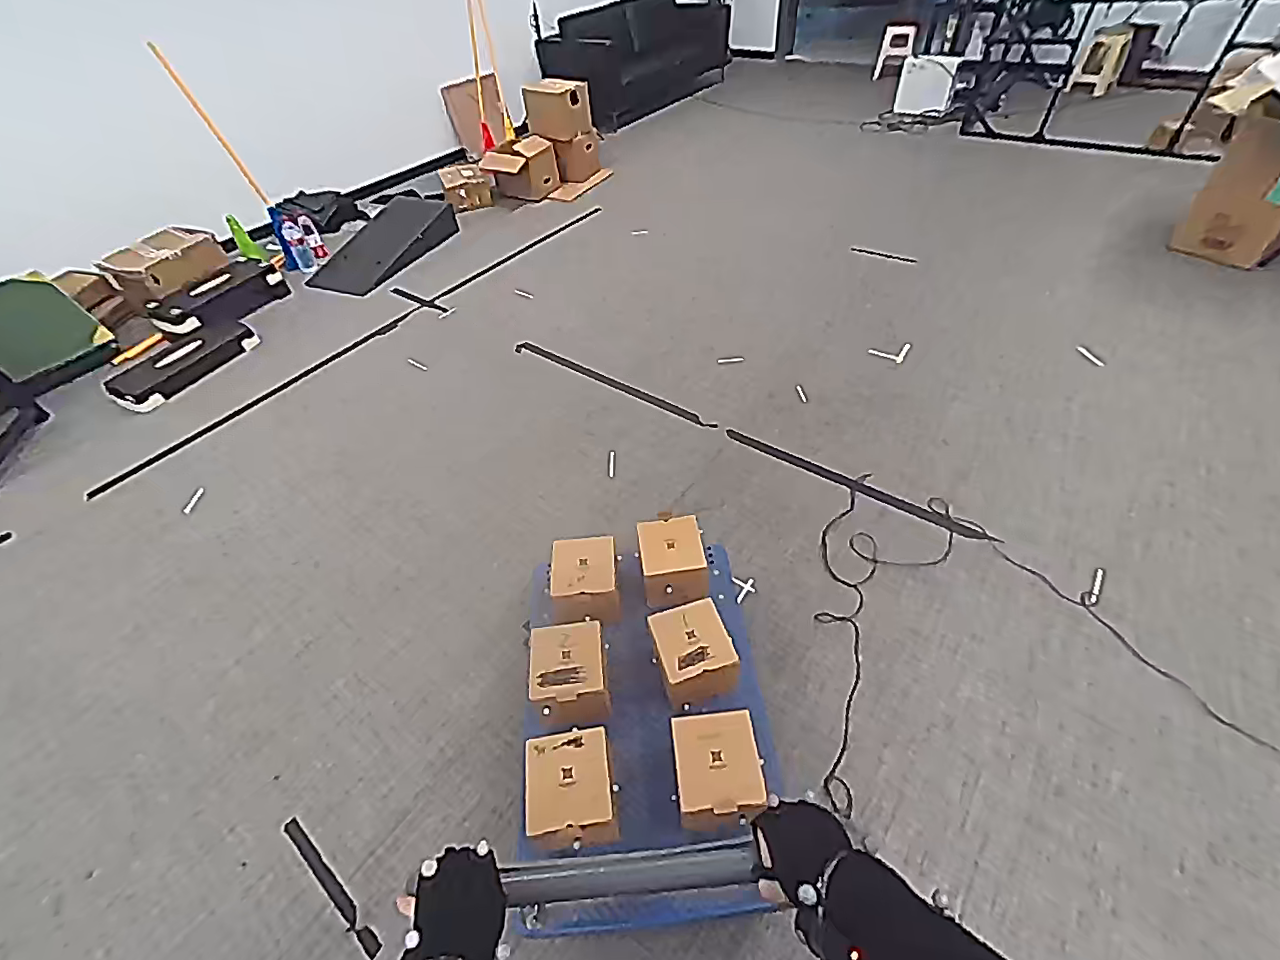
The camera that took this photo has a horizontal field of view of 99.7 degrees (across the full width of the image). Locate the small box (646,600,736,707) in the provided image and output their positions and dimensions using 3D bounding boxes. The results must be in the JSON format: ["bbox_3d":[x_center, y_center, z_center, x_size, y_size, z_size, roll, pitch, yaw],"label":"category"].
[{"bbox_3d":[0.121,0.425,1.307,0.168,0.176,0.179,-15,46,-9],"label":"small box"}]

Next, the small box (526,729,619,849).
[{"bbox_3d":[-0.138,0.646,1.122,0.168,0.176,0.179,-8,47,-4],"label":"small box"}]

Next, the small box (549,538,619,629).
[{"bbox_3d":[-0.146,0.281,1.462,0.168,0.176,0.179,-5,48,0],"label":"small box"}]

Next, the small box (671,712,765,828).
[{"bbox_3d":[0.157,0.611,1.131,0.168,0.176,0.179,-5,46,-1],"label":"small box"}]

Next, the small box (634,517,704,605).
[{"bbox_3d":[0.081,0.231,1.493,0.168,0.176,0.179,-8,47,-3],"label":"small box"}]
